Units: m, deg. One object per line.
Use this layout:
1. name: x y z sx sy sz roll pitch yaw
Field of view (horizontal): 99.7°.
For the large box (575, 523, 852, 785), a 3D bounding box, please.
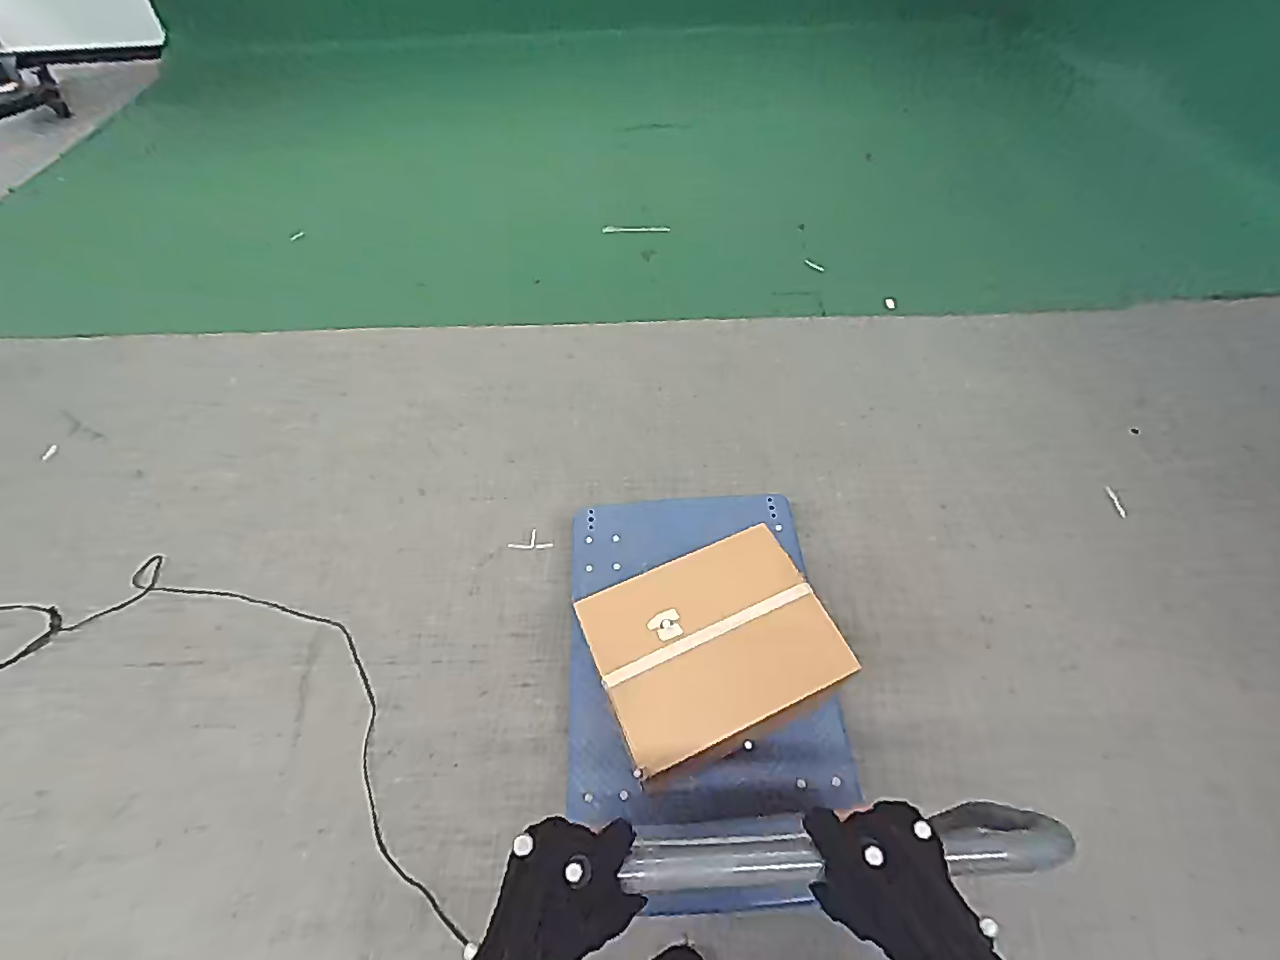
1. large box: 0.126 0.349 1.072 0.408 0.320 0.320 -21 58 -12
